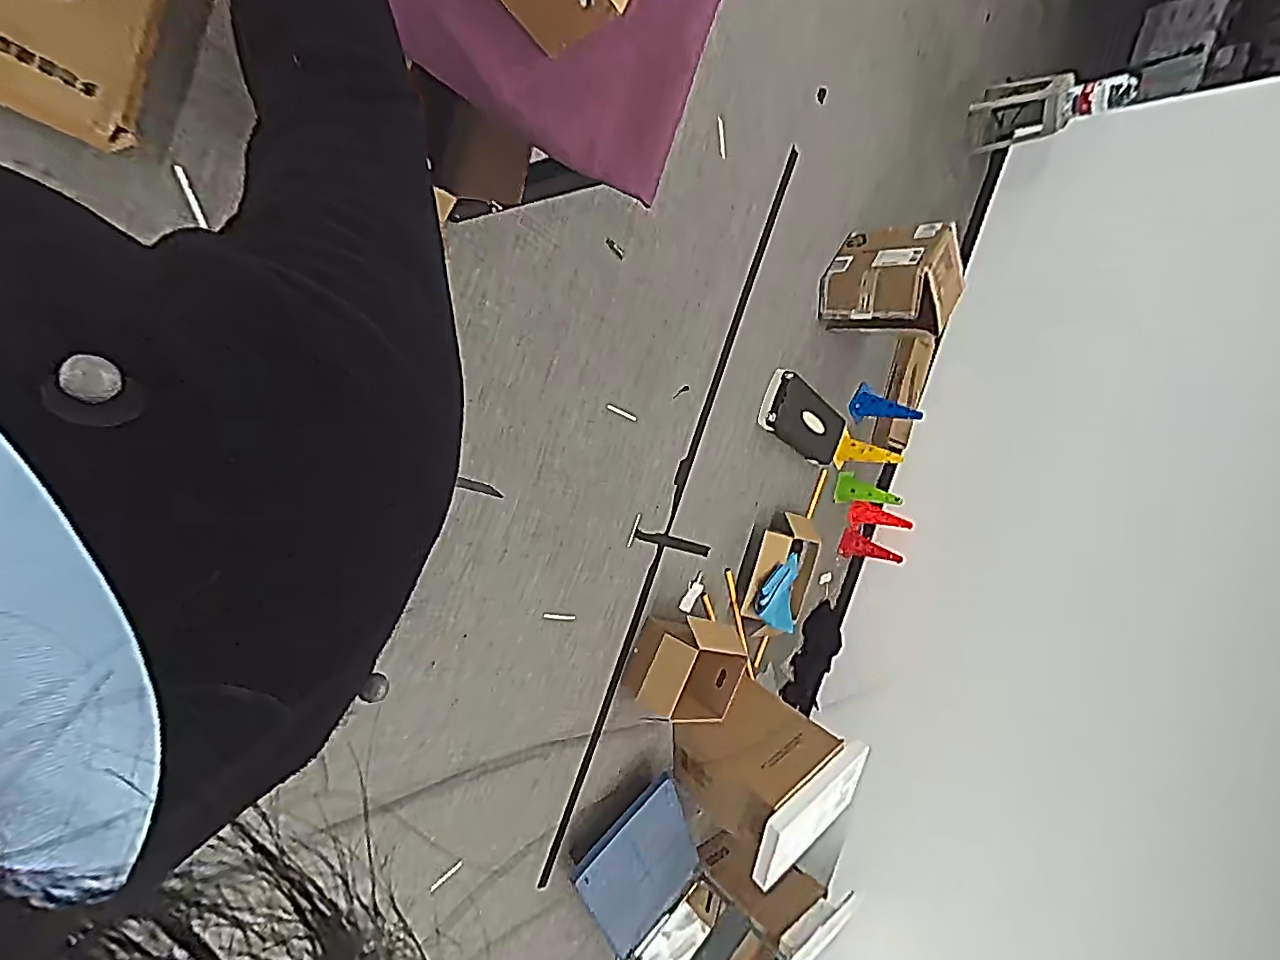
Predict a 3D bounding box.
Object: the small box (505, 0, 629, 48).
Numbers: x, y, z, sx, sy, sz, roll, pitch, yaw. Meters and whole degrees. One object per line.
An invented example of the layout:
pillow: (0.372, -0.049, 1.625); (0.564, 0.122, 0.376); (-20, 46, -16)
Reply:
small box: (-0.099, -0.693, 0.667); (0.179, 0.176, 0.168); (26, 85, -45)
